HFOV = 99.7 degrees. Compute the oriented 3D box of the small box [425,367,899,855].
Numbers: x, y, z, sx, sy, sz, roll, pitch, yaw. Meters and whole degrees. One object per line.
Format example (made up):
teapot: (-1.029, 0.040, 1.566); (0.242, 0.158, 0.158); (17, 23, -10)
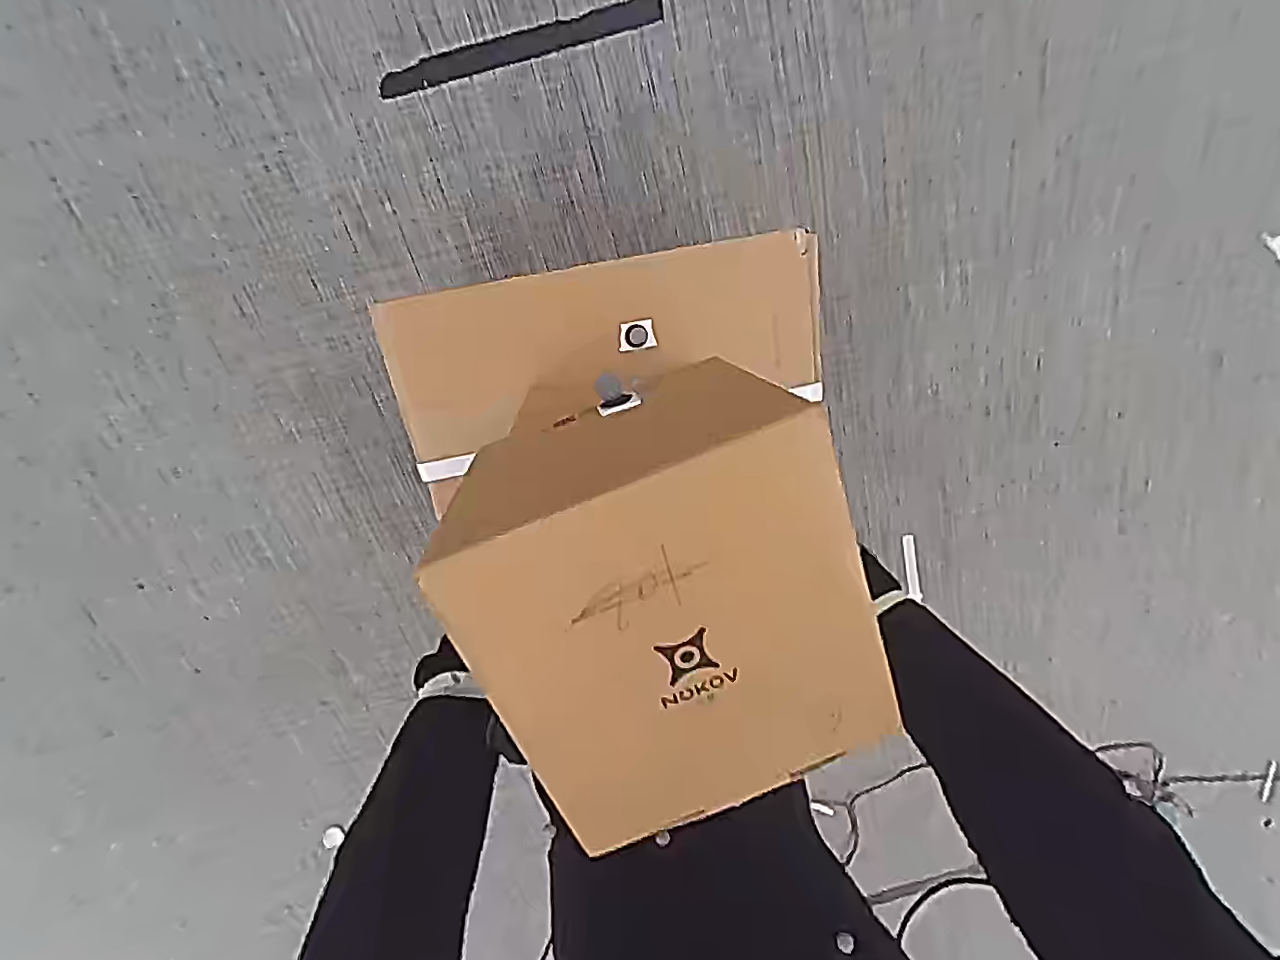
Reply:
small box: (0.012, 0.053, 0.308); (0.168, 0.176, 0.179); (-22, 111, 0)
